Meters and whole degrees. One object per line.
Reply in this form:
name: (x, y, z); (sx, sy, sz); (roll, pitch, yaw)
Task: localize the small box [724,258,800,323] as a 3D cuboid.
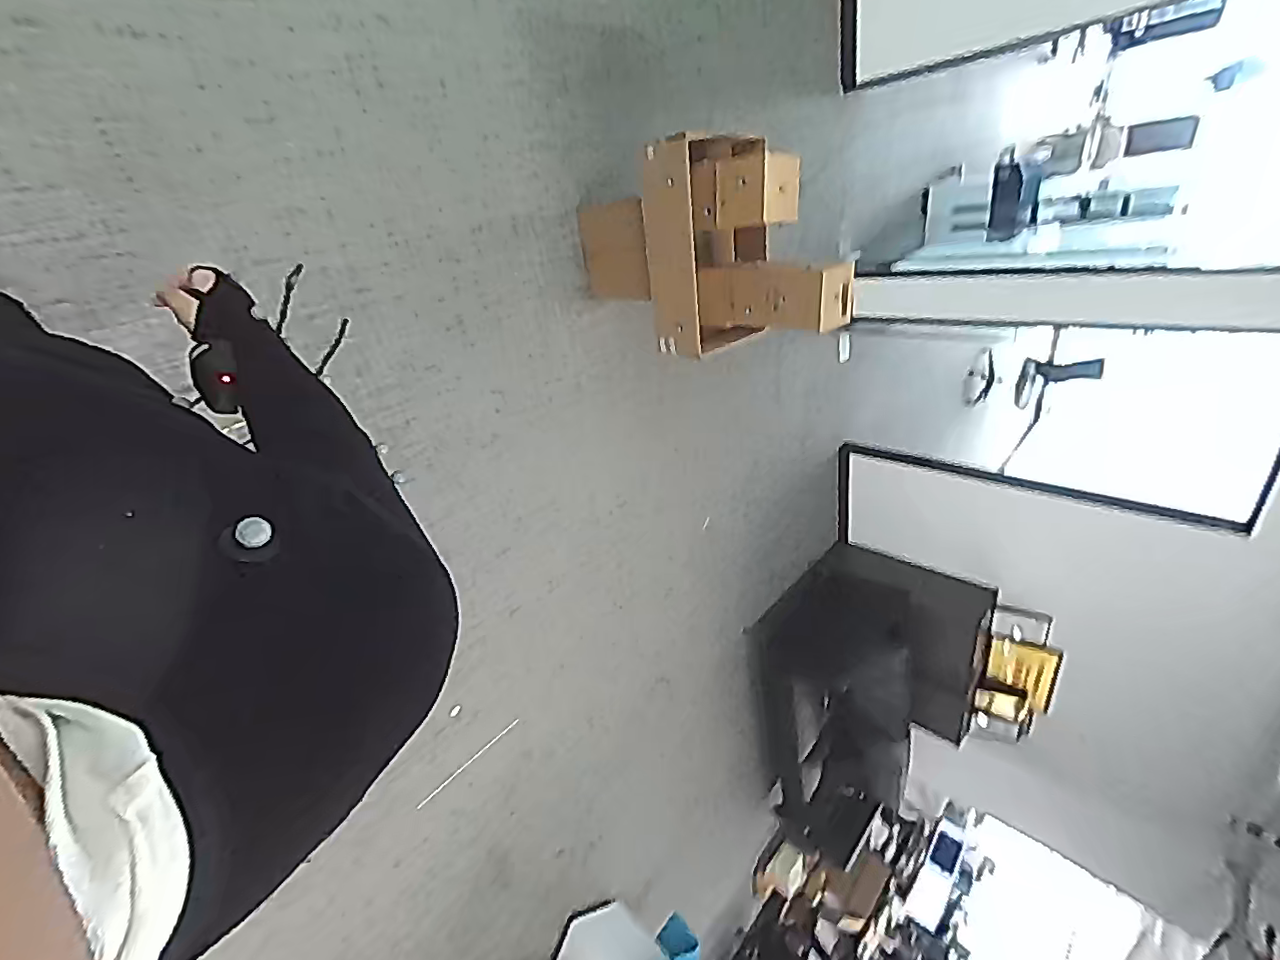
small box: (0.374, -0.587, 1.670); (0.179, 0.176, 0.168); (-28, 124, -37)

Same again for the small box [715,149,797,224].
small box: (0.324, -0.826, 1.533); (0.179, 0.176, 0.168); (-25, 121, -39)
